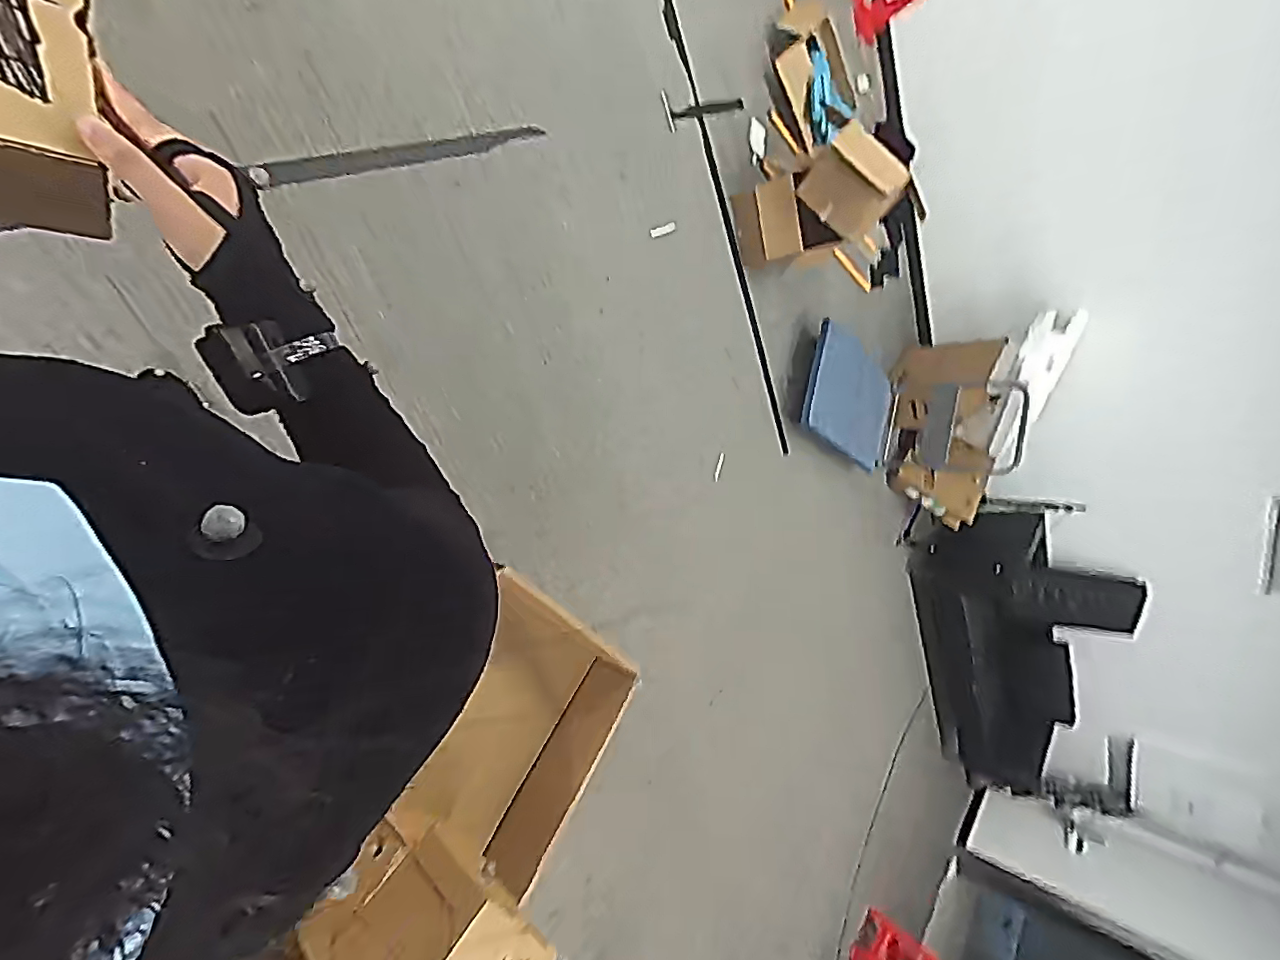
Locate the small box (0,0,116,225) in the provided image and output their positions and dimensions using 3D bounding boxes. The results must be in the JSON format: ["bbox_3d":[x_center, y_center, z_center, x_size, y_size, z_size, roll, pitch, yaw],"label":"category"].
[{"bbox_3d":[-0.449,-0.275,0.330,0.179,0.176,0.168,-6,96,-43],"label":"small box"}]

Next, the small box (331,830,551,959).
[{"bbox_3d":[-0.251,0.592,0.672,0.179,0.176,0.168,-47,122,-33],"label":"small box"}]
